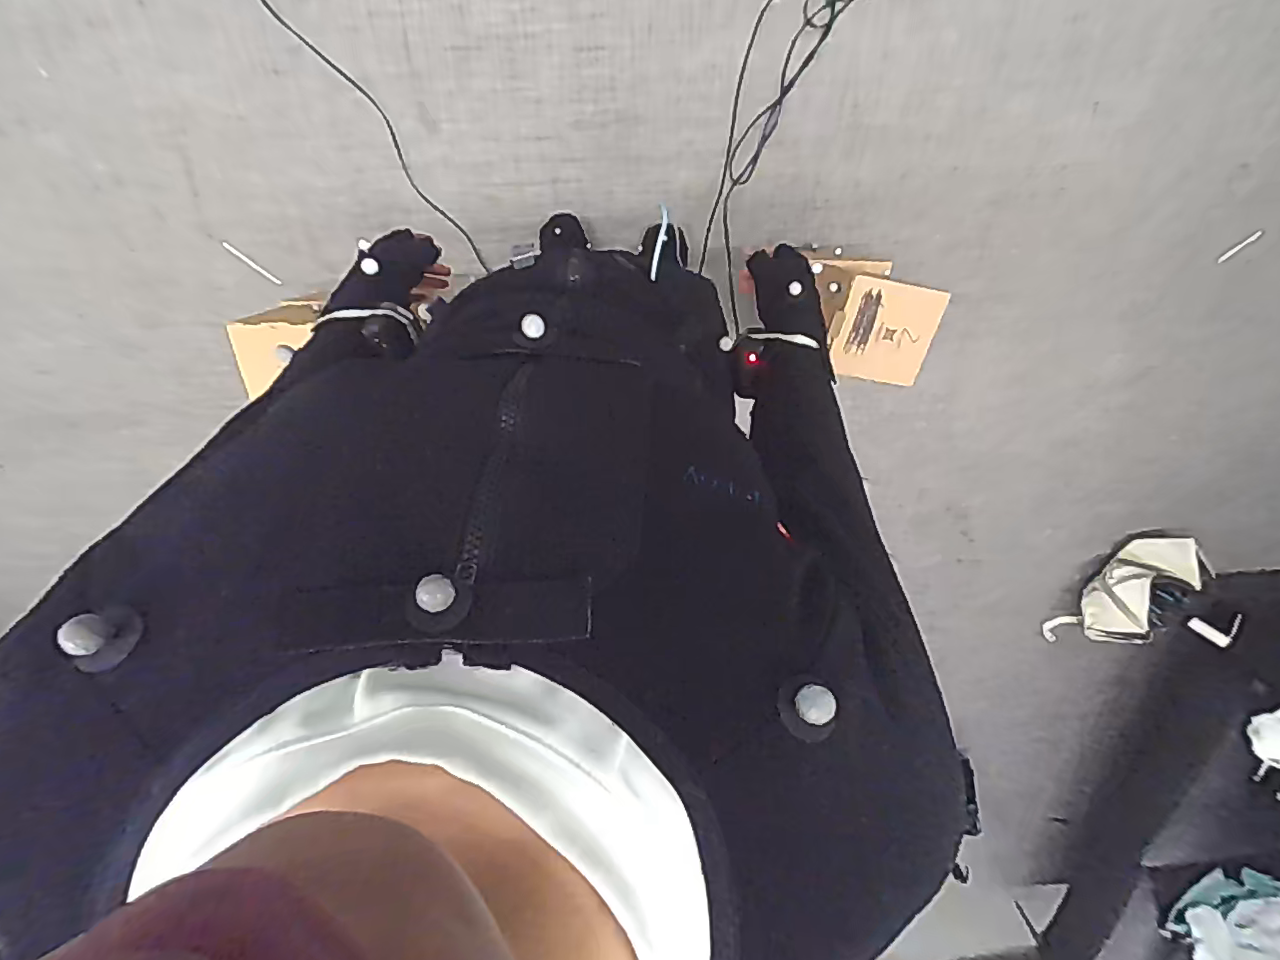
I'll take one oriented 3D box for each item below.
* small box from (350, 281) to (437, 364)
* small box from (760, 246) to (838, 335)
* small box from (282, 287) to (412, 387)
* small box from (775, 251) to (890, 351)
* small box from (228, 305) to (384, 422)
[{"bbox_3d":[-0.597,-0.377,1.283,0.179,0.176,0.168,-1,117,-1],"label":"small box"},{"bbox_3d":[0.388,-0.442,1.264,0.168,0.176,0.179,2,117,-3],"label":"small box"},{"bbox_3d":[-0.600,-0.301,1.137,0.168,0.176,0.179,0,117,-1],"label":"small box"},{"bbox_3d":[0.390,-0.378,1.131,0.168,0.176,0.179,0,118,-2],"label":"small box"},{"bbox_3d":[-0.597,-0.219,0.996,0.168,0.176,0.179,0,117,-1],"label":"small box"}]
